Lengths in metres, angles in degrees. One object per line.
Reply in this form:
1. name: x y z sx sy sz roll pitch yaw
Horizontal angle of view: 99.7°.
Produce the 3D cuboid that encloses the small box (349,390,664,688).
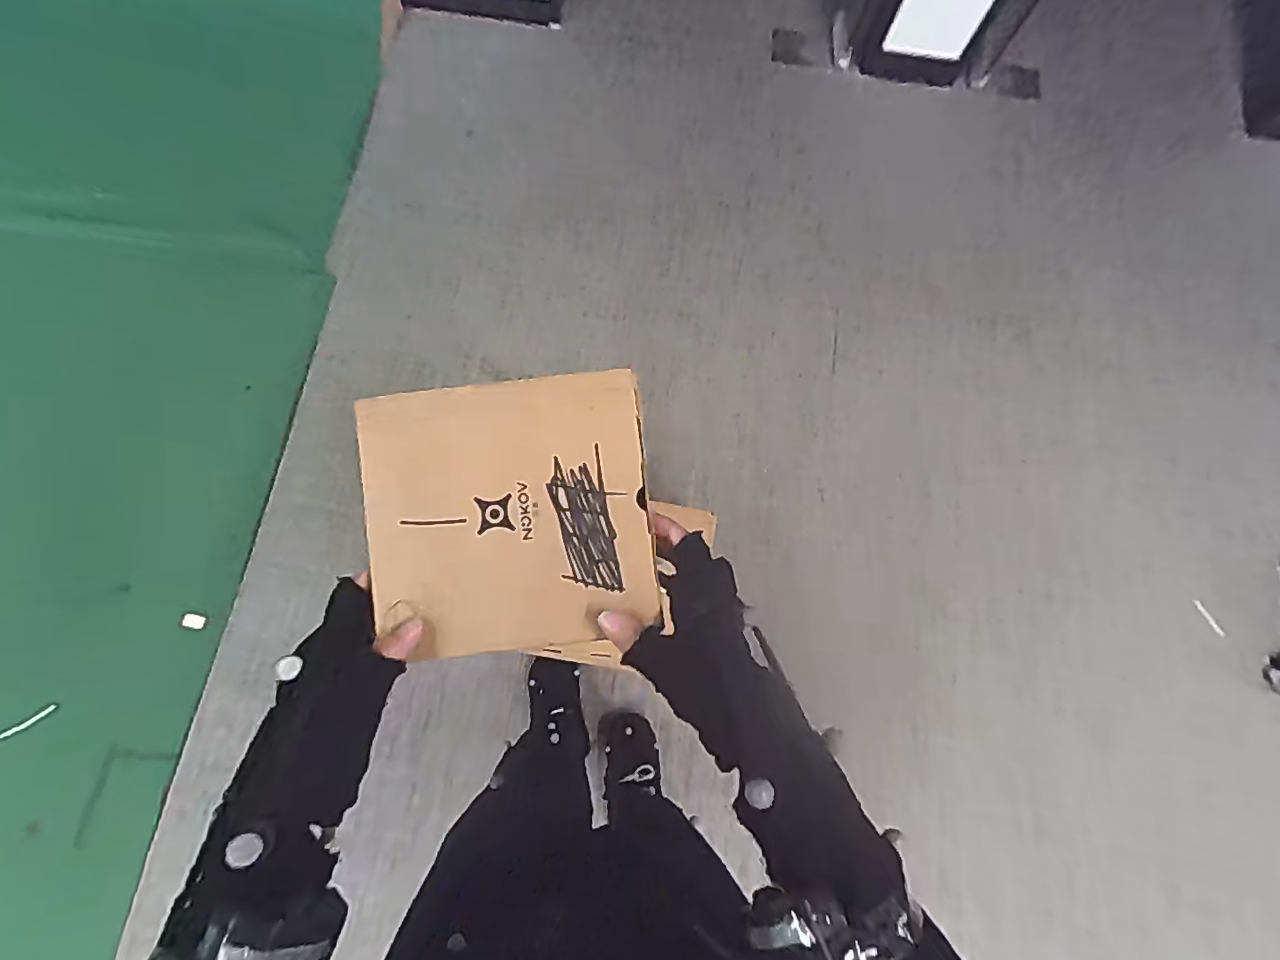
1. small box: -0.082 0.036 0.405 0.179 0.176 0.168 -7 88 -1
